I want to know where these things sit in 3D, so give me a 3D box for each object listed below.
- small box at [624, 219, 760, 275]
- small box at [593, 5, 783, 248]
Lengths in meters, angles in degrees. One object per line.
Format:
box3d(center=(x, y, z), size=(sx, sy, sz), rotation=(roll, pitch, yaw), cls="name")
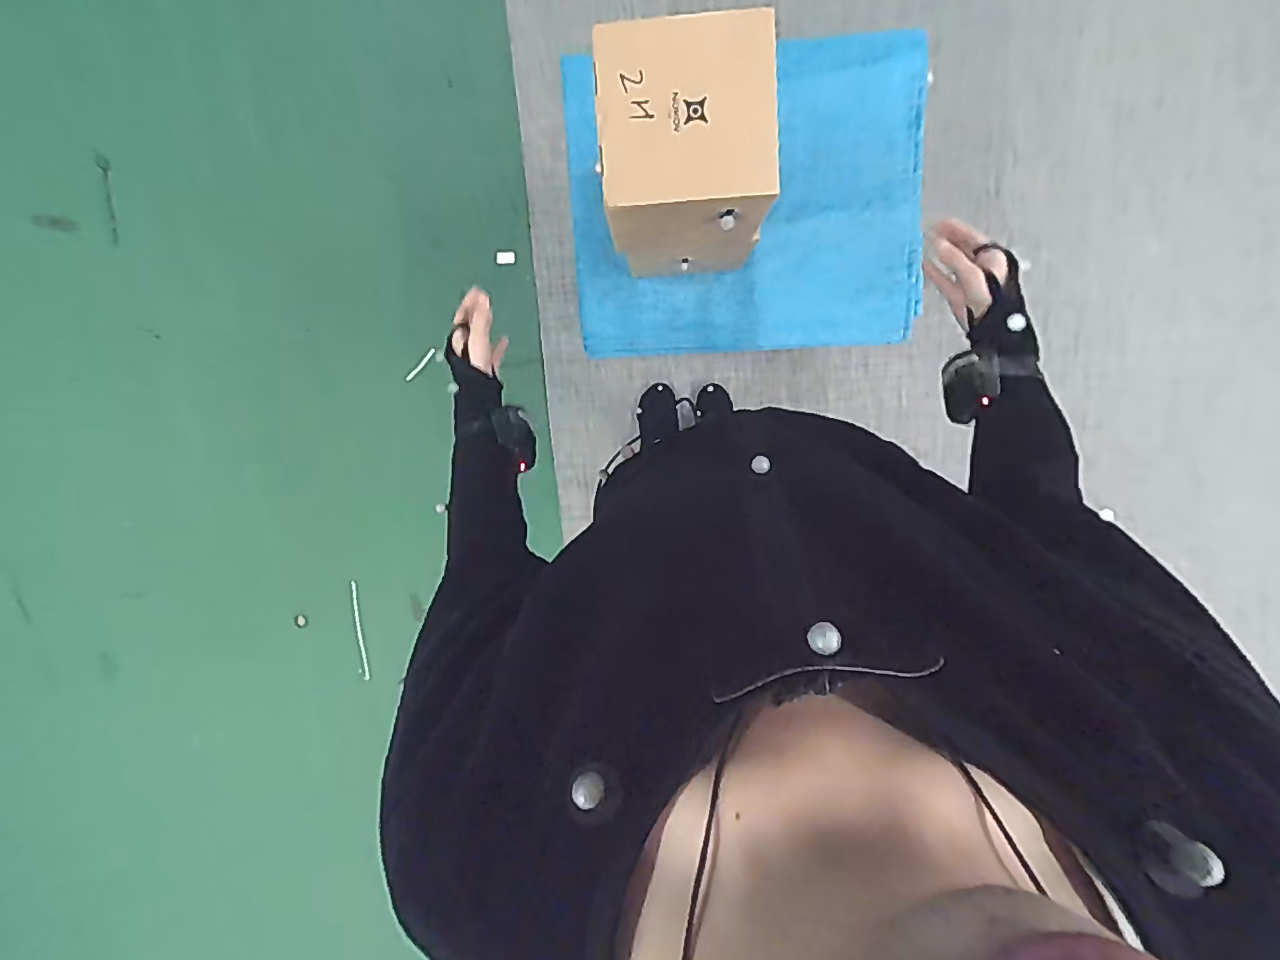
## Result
box3d(center=(0.064, -0.392, 0.752), size=(0.179, 0.176, 0.168), rotation=(-3, 98, 3), cls="small box")
box3d(center=(0.048, -0.364, 0.590), size=(0.179, 0.176, 0.168), rotation=(-3, 98, 3), cls="small box")
